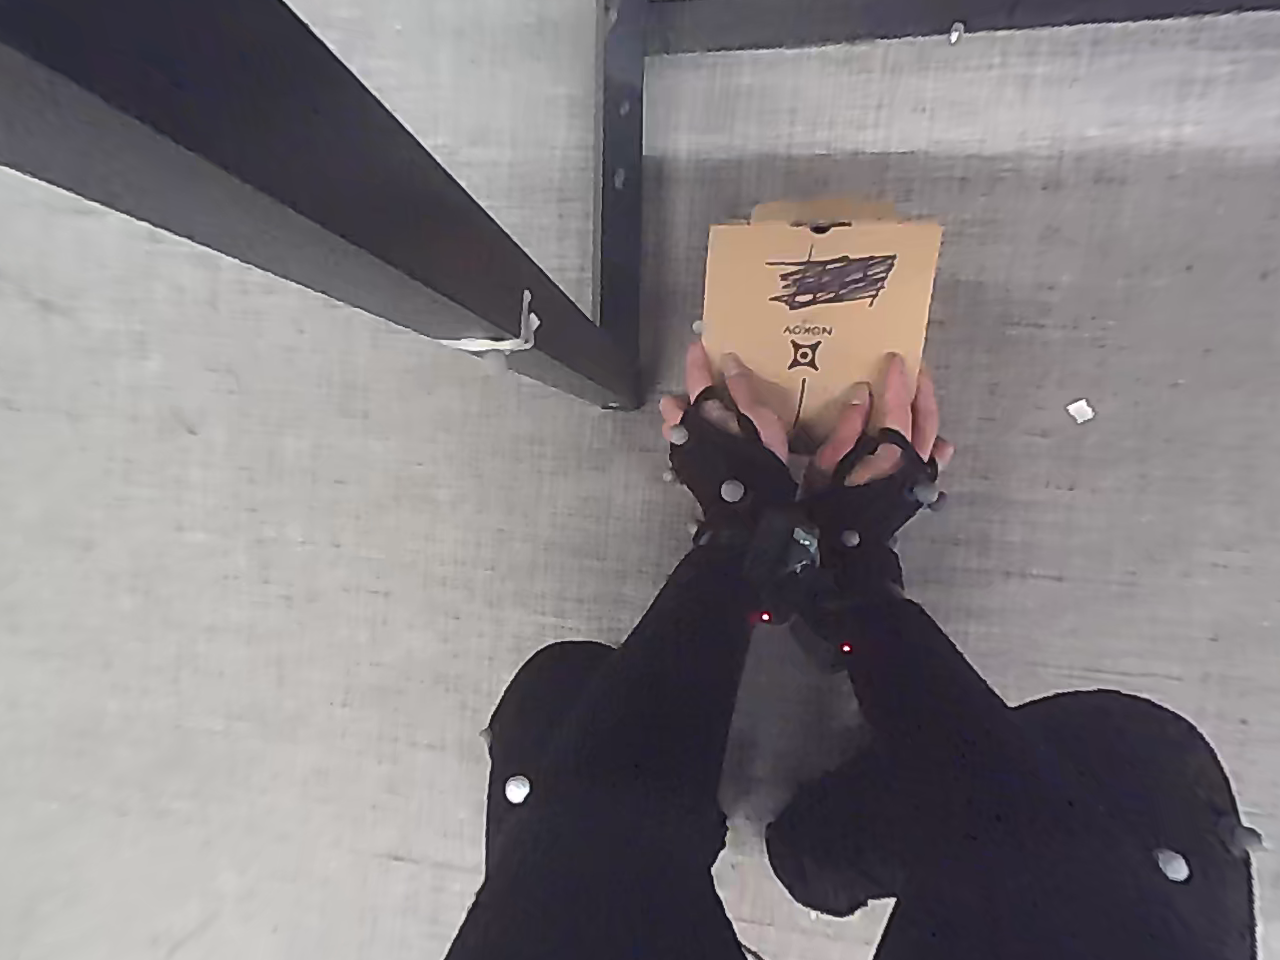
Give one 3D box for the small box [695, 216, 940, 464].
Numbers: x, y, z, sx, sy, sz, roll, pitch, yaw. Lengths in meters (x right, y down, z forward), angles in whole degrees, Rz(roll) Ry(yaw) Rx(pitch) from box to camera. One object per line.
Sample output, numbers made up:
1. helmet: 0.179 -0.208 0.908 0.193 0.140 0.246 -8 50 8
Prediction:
1. small box: 0.144 -0.118 0.481 0.168 0.176 0.179 4 103 14
